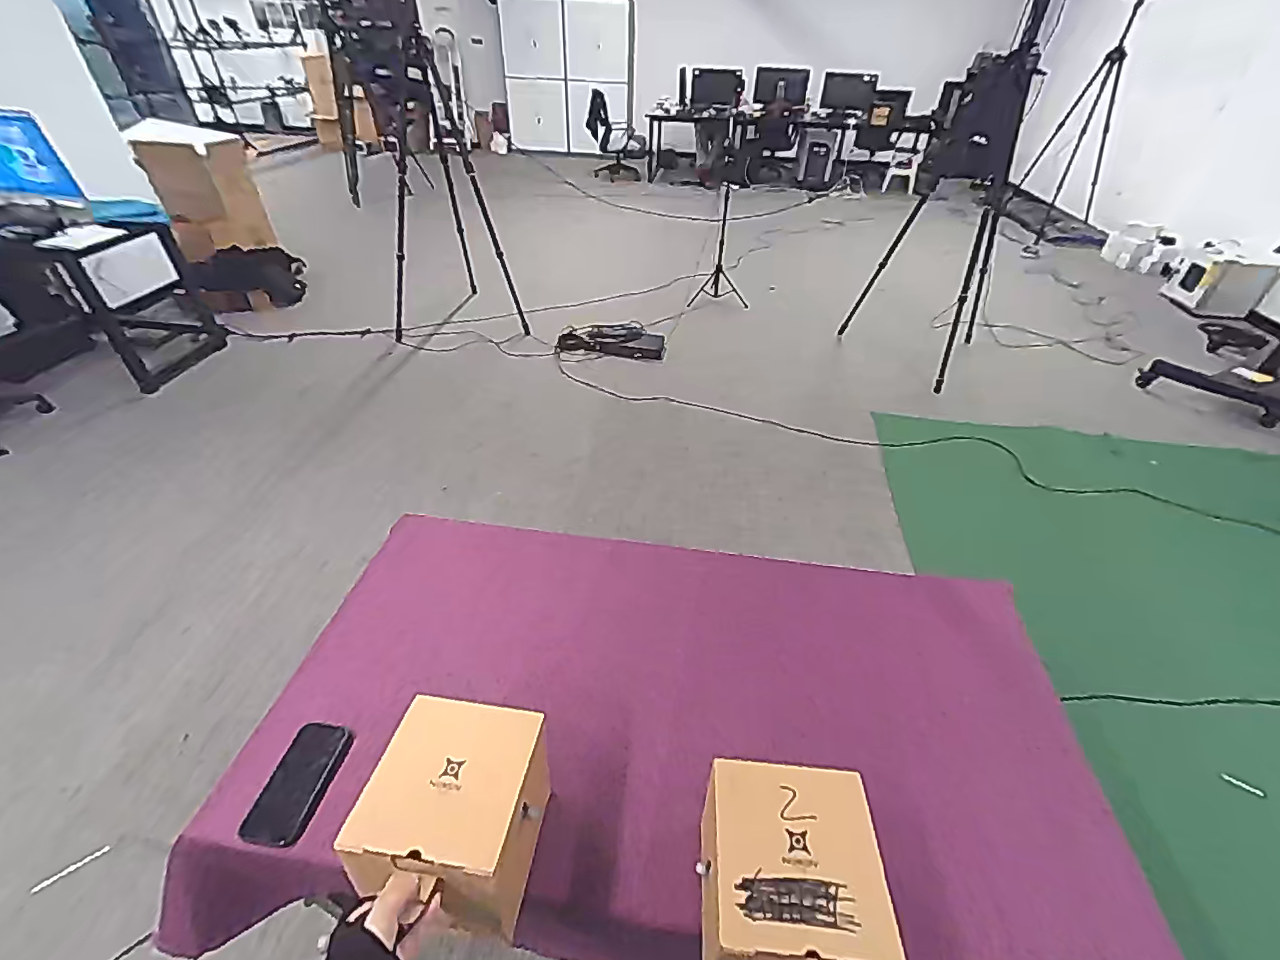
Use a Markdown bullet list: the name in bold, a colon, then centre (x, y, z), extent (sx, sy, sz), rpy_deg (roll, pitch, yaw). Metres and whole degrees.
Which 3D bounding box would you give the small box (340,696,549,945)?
- **small box**: centre (-0.209, 0.391, 0.632), extent (0.168, 0.176, 0.179), rpy_deg (7, 33, 5)
